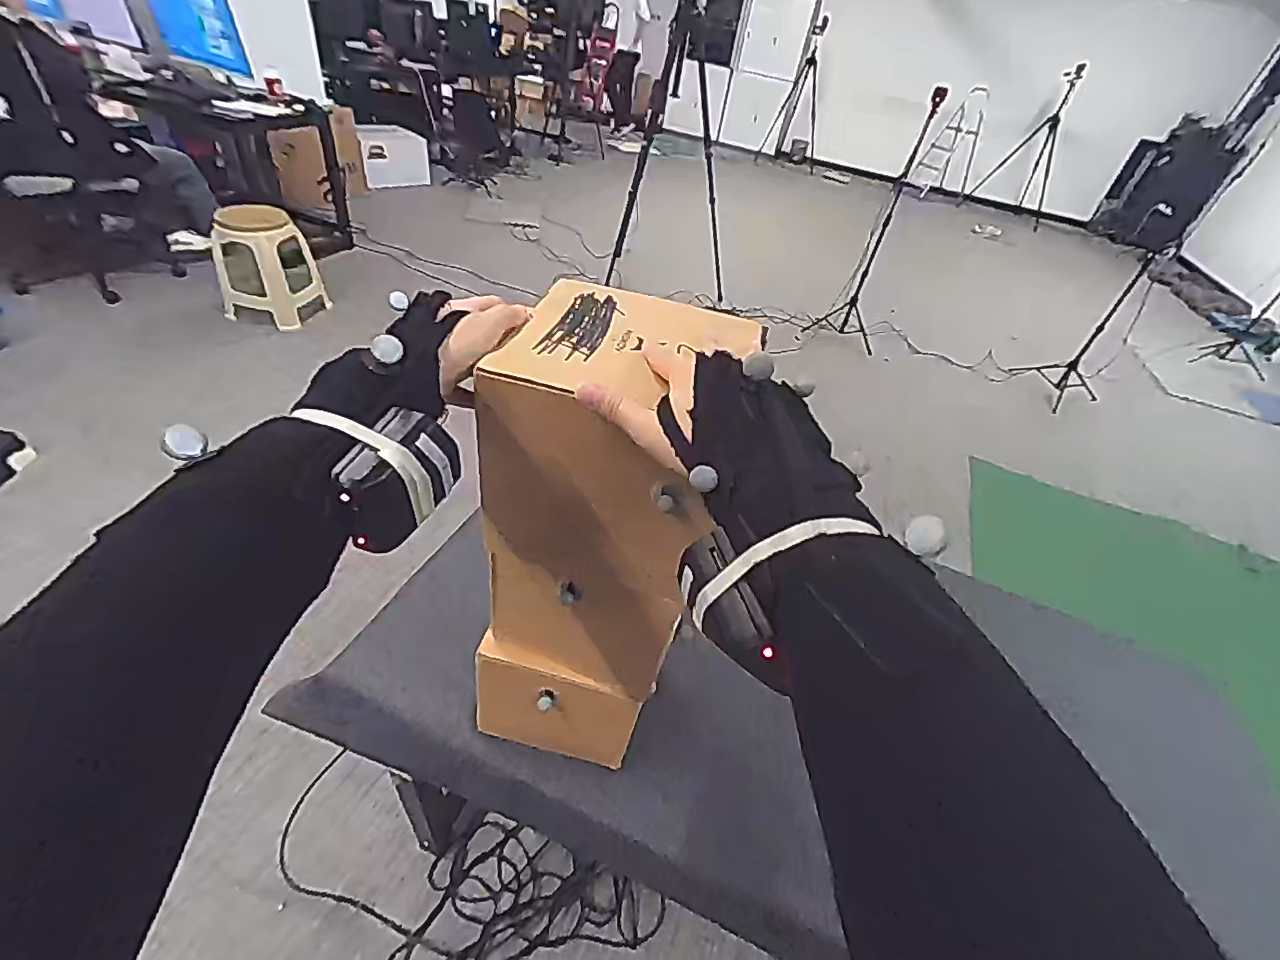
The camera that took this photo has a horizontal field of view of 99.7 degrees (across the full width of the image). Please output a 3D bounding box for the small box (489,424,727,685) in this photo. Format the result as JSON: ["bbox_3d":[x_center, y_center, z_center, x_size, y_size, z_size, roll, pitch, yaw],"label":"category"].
[{"bbox_3d":[-0.033,0.076,0.547,0.179,0.176,0.168,21,42,9],"label":"small box"}]

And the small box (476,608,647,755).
[{"bbox_3d":[-0.076,0.200,0.644,0.179,0.176,0.168,14,40,3],"label":"small box"}]
